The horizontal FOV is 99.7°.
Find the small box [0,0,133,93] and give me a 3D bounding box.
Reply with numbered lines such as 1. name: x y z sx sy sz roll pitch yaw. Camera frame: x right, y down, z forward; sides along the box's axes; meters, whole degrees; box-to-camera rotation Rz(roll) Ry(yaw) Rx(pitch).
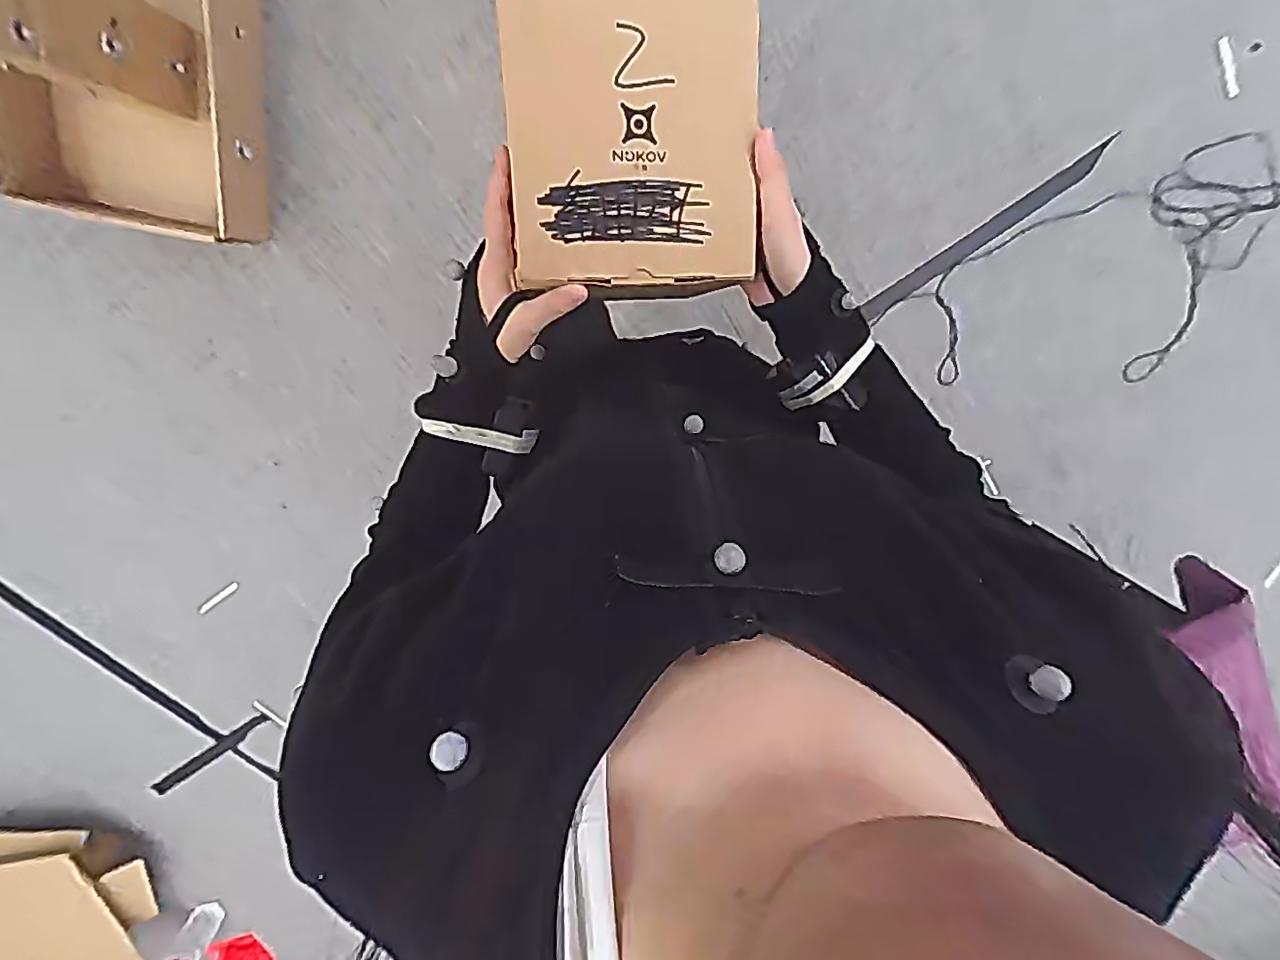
1. small box: -0.962 -0.742 0.849 0.179 0.176 0.168 10 111 -9

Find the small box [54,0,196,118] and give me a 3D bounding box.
1. small box: -0.973 -0.800 0.999 0.179 0.176 0.168 12 111 -9

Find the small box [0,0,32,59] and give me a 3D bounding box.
1. small box: -0.955 -0.680 0.696 0.179 0.176 0.168 10 111 -7
